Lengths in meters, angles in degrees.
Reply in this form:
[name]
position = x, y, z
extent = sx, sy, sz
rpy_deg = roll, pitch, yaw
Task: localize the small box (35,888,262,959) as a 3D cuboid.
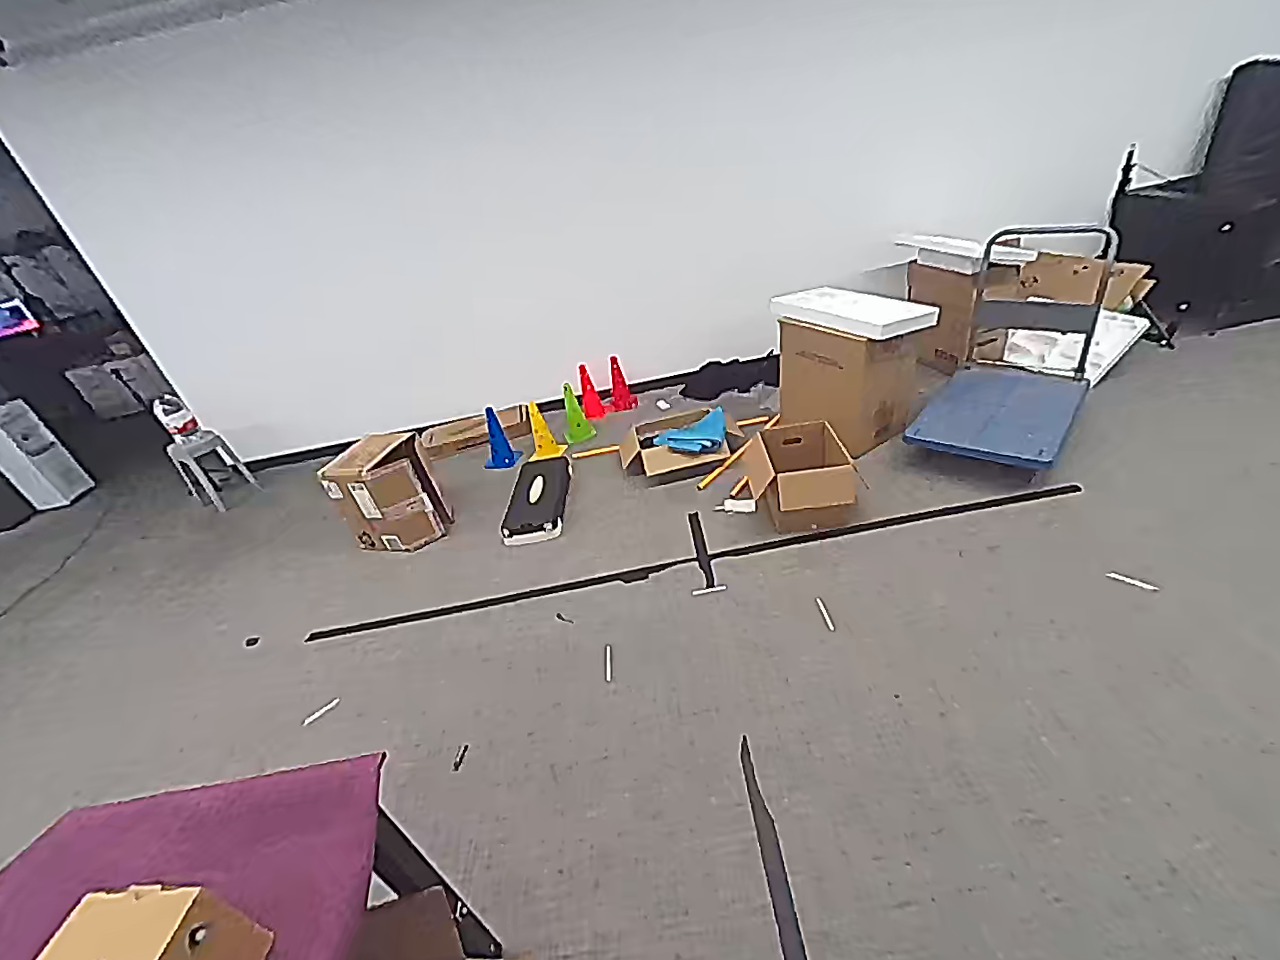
[small box]
position = -0.597, 0.617, 0.632
extent = 0.168, 0.176, 0.179
rpy_deg = -8, 31, 7
